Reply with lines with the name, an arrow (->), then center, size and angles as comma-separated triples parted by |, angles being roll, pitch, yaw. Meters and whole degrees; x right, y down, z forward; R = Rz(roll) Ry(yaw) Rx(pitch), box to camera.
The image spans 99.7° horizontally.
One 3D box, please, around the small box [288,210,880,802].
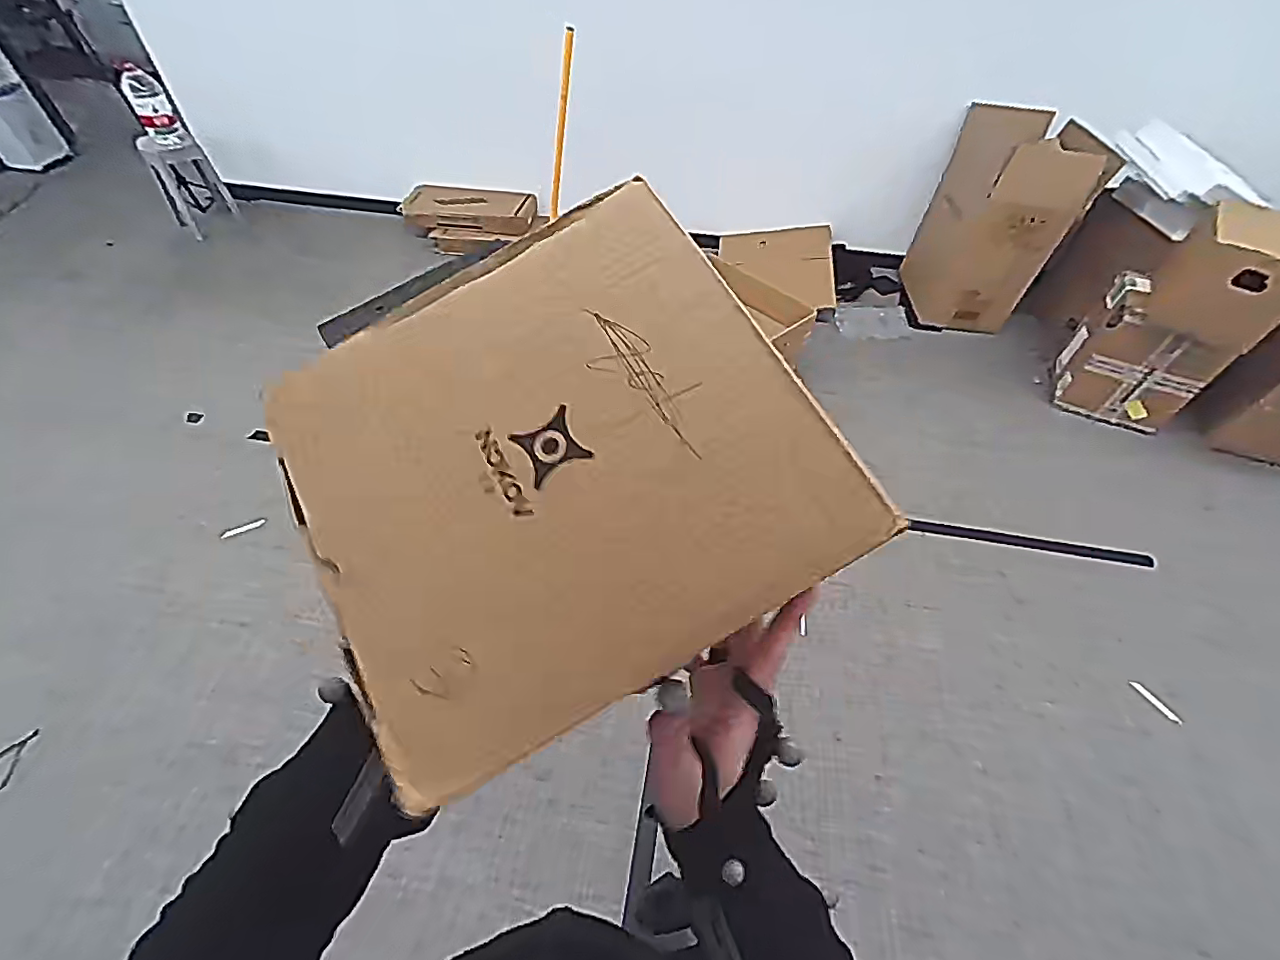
small box -> -0.021, 0.017, 0.276 | 0.179, 0.176, 0.168 | -32, 74, -2
